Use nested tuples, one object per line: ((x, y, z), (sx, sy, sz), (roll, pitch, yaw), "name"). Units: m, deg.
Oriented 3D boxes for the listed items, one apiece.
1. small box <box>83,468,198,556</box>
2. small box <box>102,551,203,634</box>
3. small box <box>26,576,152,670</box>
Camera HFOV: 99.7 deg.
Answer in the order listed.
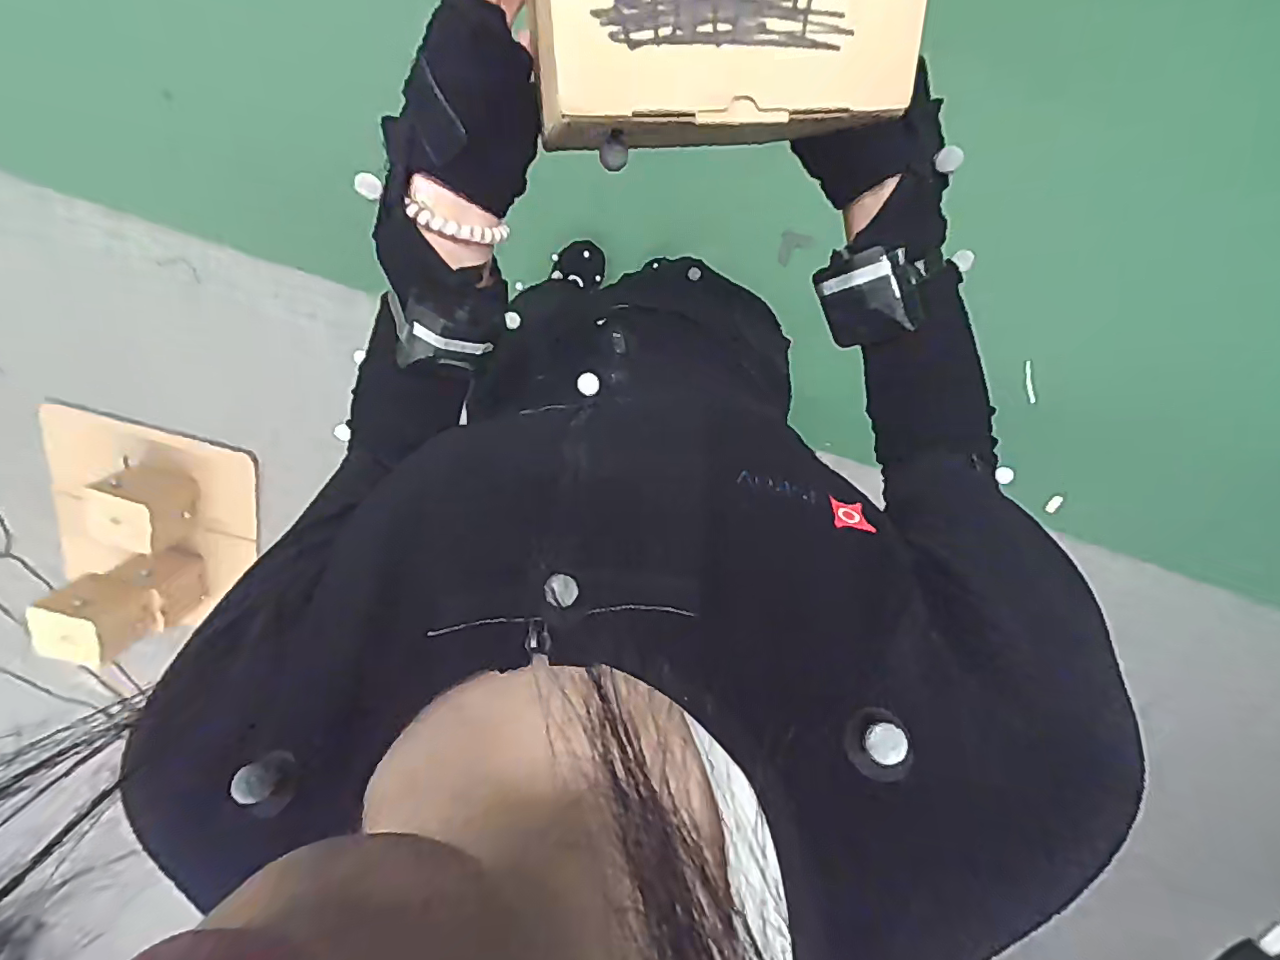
((-1.414, 0.083, 1.538), (0.179, 0.176, 0.168), (19, 113, -6), "small box")
((-1.474, 0.335, 1.644), (0.179, 0.176, 0.168), (13, 113, -3), "small box")
((-1.508, 0.386, 1.490), (0.179, 0.176, 0.168), (16, 112, -4), "small box")
